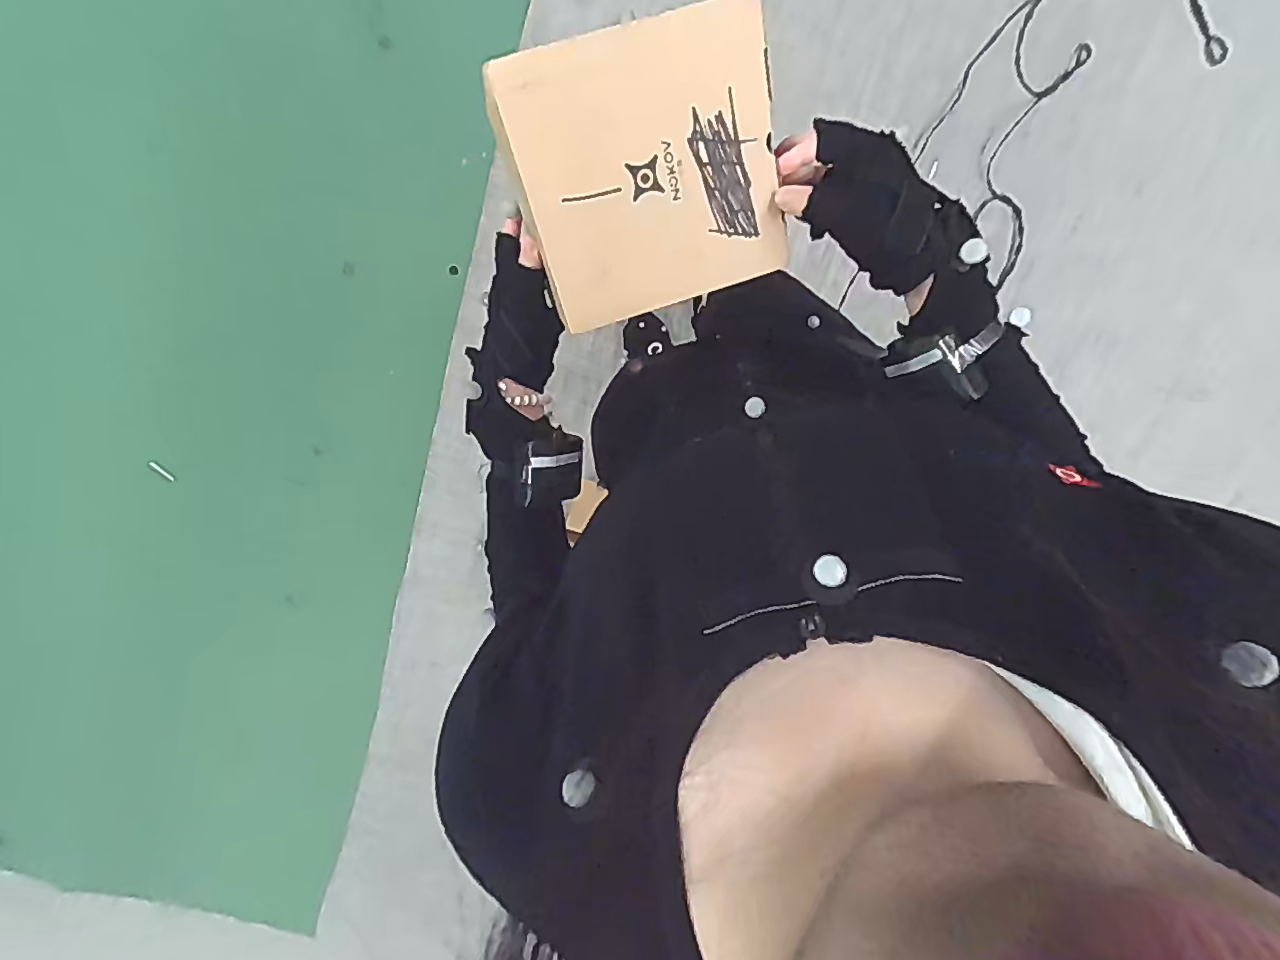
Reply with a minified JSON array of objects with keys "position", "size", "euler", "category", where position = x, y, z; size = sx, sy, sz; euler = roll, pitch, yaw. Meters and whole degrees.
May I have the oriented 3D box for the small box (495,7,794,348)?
[{"position":[-0.004,-0.225,0.424],"size":[0.179,0.176,0.168],"euler":[-19,119,-4],"category":"small box"}]
